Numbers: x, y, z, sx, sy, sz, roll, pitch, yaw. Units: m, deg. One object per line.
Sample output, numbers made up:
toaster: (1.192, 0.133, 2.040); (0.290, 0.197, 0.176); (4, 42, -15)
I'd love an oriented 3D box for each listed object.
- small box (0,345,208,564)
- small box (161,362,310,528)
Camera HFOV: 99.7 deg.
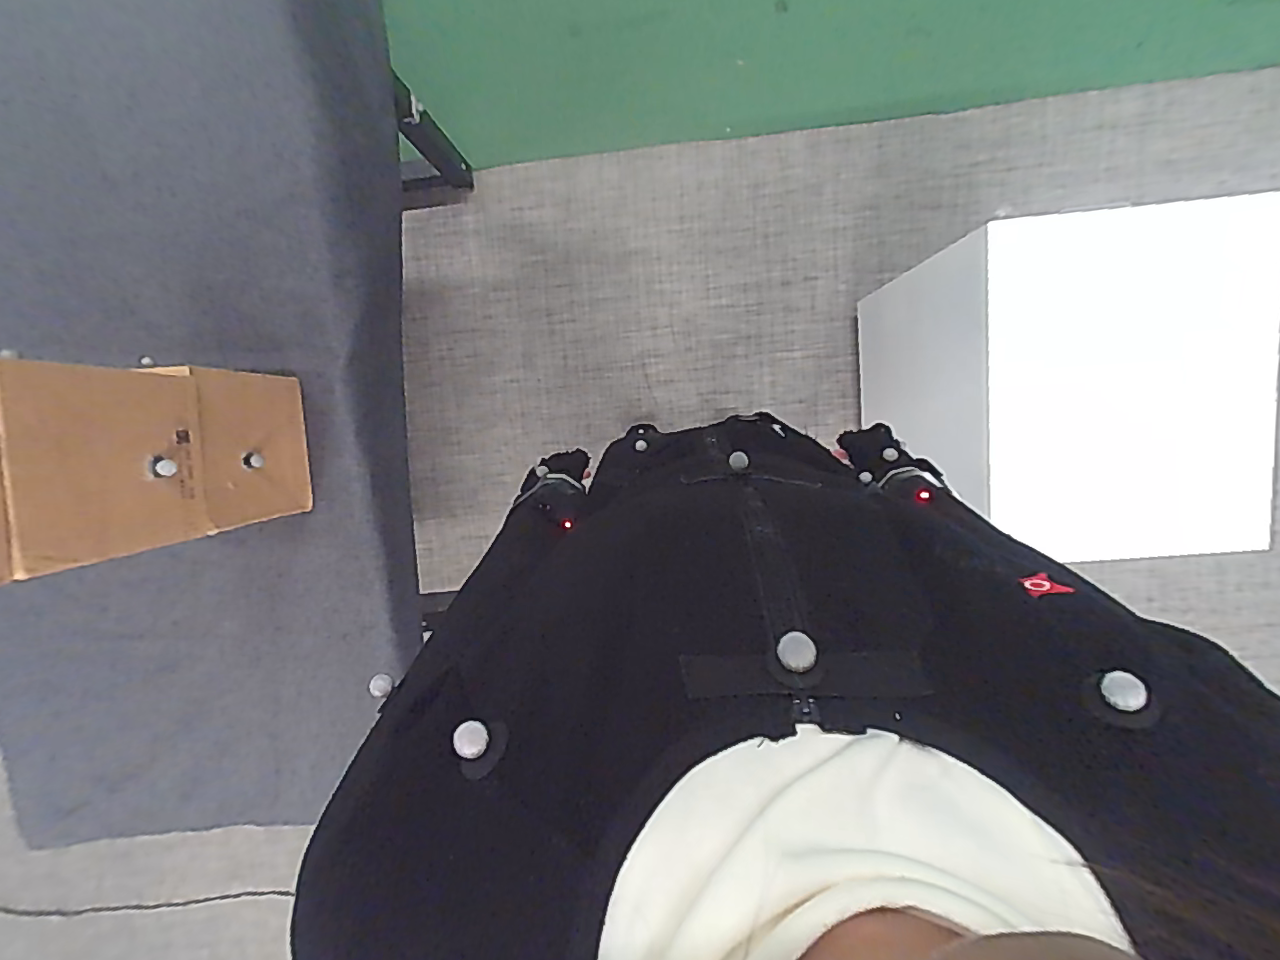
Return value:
small box: (-0.546, -0.025, 0.487); (0.179, 0.176, 0.168); (-2, 97, 6)
small box: (-0.530, -0.045, 0.649); (0.168, 0.176, 0.179); (-2, 97, 4)
